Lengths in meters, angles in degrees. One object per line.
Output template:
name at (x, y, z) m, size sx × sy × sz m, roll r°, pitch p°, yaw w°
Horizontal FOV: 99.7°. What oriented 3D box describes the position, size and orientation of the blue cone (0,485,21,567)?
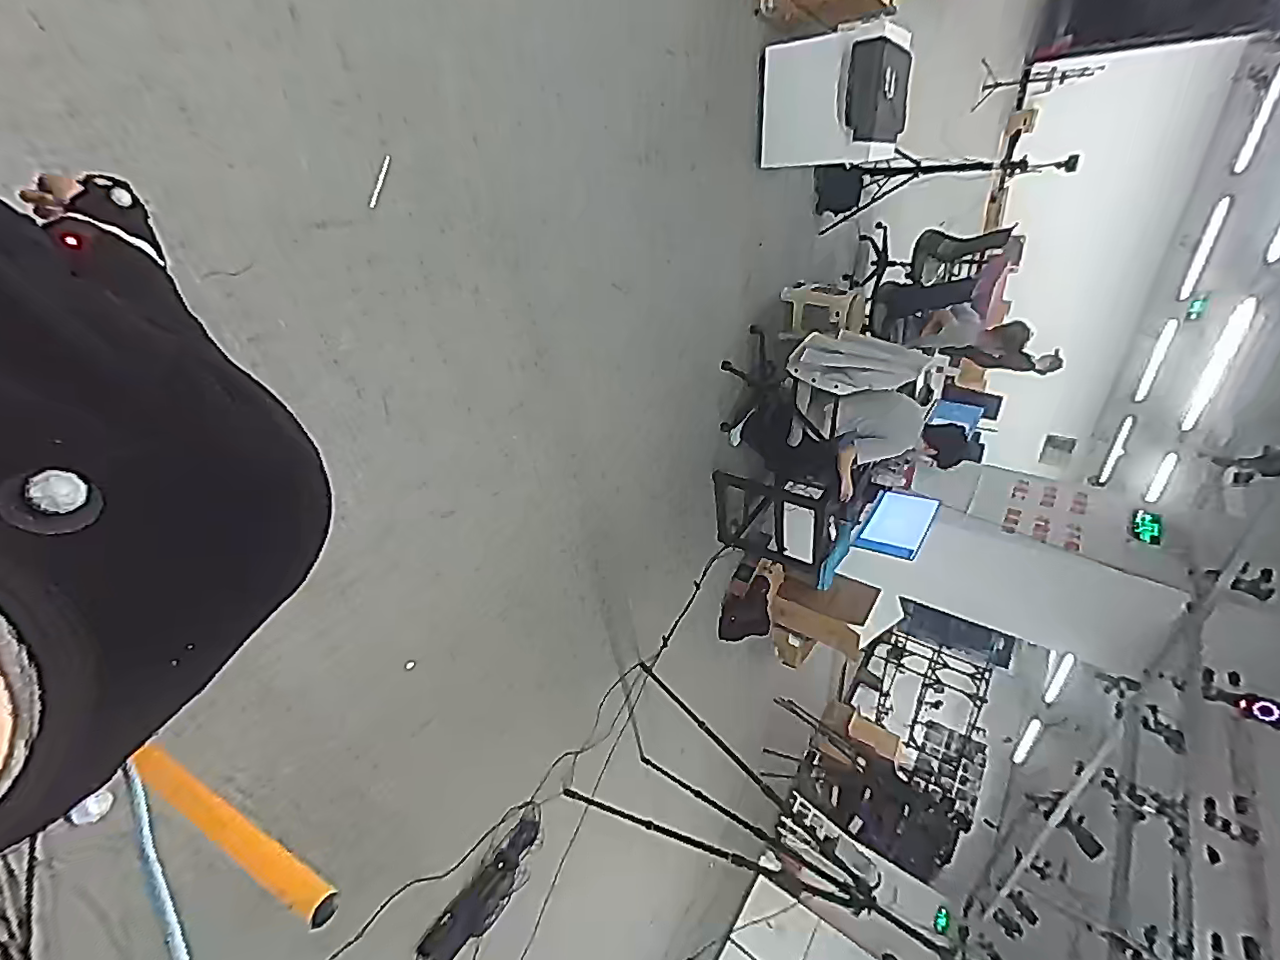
blue cone at (-1.124, 0.127, 0.875) m, size 0.193 × 0.380 × 0.192 m, roll 21°, pitch 87°, yaw -58°
